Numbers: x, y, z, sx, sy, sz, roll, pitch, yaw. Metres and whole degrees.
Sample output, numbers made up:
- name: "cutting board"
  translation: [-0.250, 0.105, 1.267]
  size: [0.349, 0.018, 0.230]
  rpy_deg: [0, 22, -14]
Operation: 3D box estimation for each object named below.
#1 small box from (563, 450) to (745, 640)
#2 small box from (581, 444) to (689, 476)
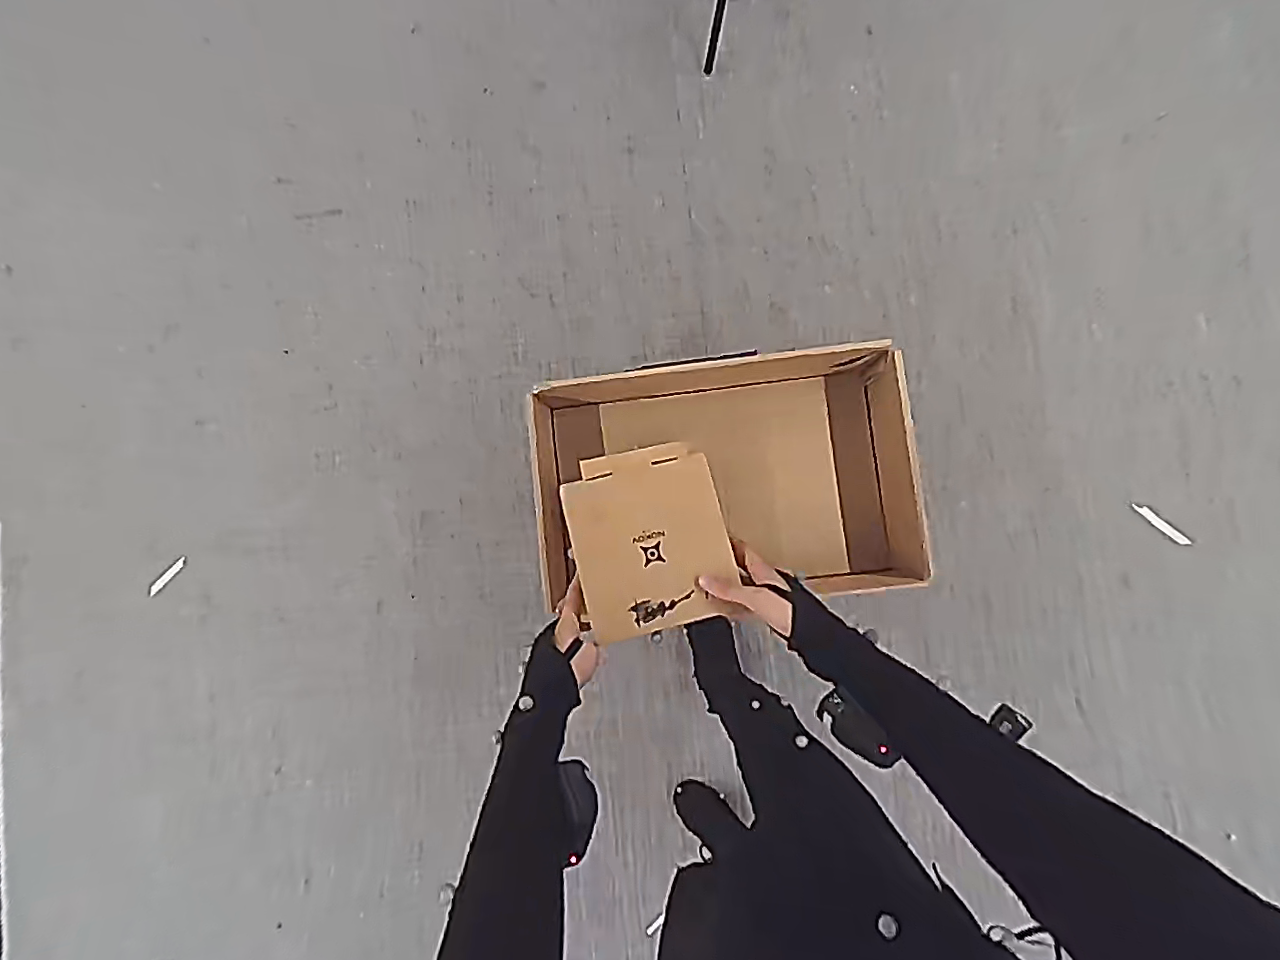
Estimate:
- name: "small box"
  translation: [0.011, 0.081, 0.653]
  size: [0.168, 0.176, 0.179]
  rpy_deg: [-14, 81, -3]
- name: "small box"
  translation: [0.008, 0.042, 0.928]
  size: [0.179, 0.176, 0.168]
  rpy_deg: [-11, 84, 3]
